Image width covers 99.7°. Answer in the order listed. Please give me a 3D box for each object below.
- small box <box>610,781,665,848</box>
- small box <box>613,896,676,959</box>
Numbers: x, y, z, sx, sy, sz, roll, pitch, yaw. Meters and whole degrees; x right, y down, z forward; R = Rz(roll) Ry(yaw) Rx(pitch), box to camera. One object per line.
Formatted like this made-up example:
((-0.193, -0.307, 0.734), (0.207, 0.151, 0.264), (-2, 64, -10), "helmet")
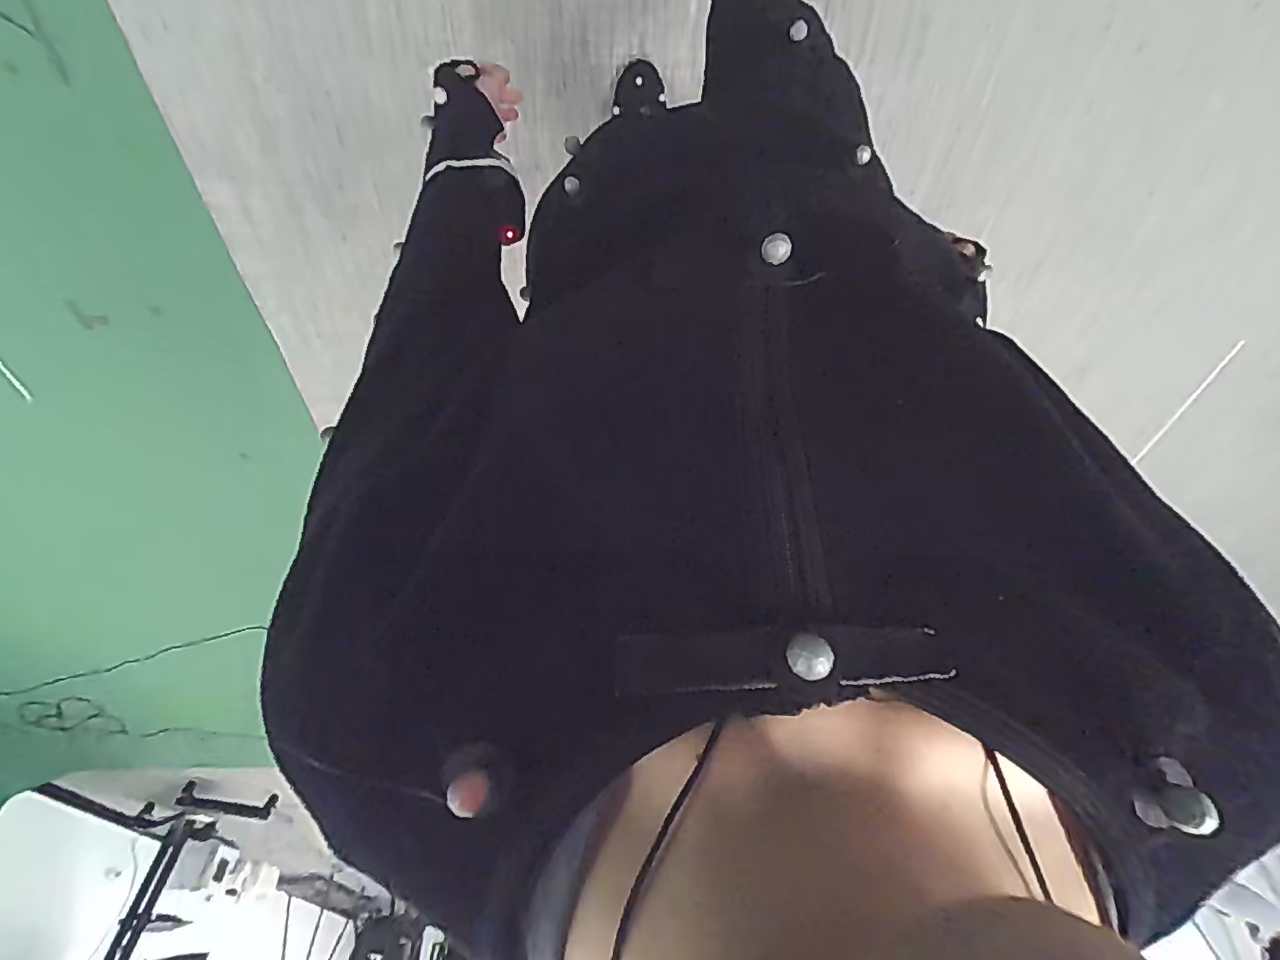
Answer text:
((-0.012, 1.166, 1.888), (0.179, 0.176, 0.168), (2, 135, -4), "small box")
((0.010, 1.387, 1.647), (0.179, 0.176, 0.168), (2, 135, -4), "small box")
